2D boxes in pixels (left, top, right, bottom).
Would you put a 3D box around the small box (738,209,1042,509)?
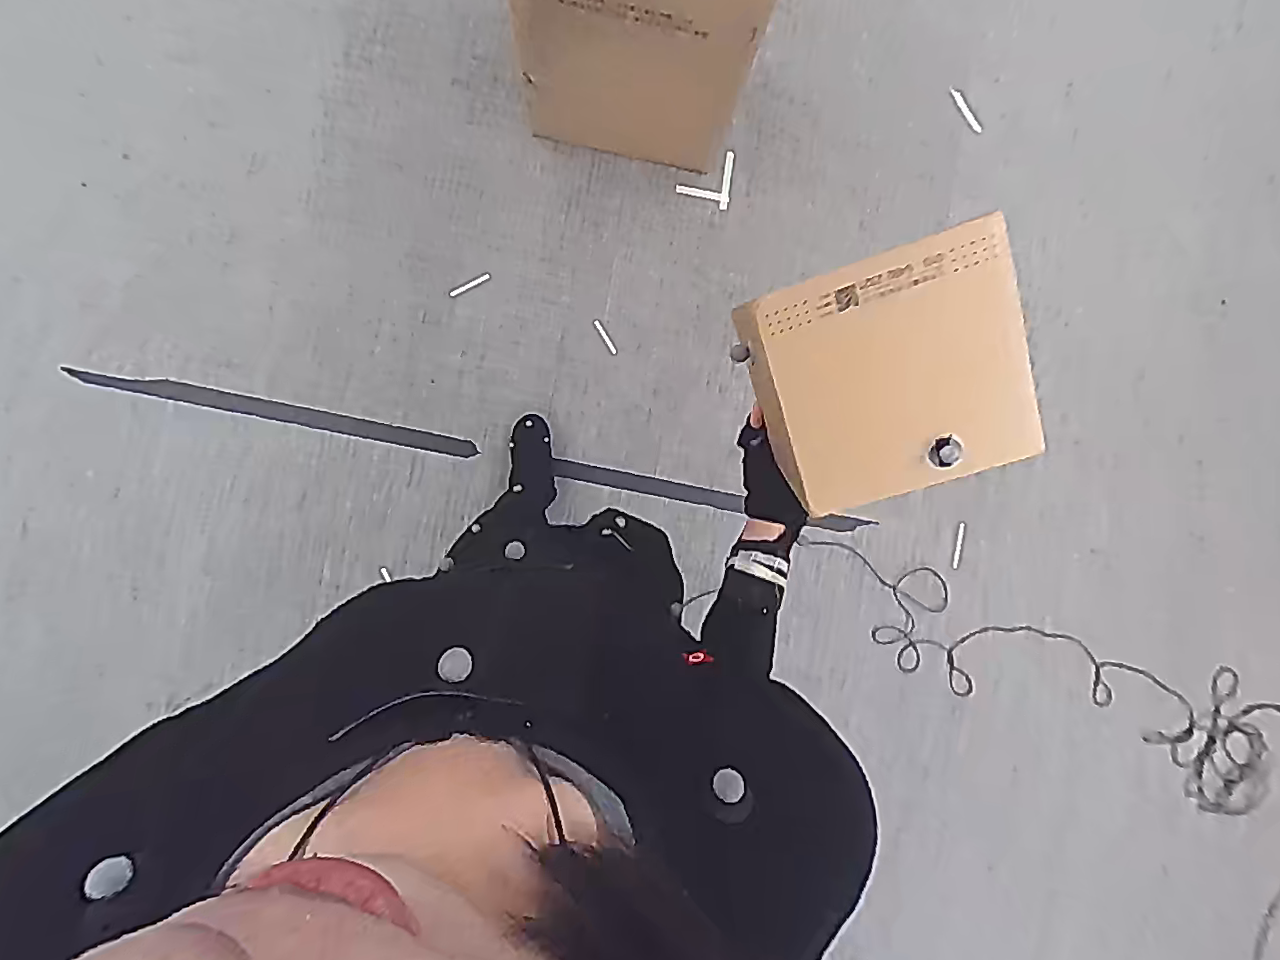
[{"bbox_3d":[0.184,-0.100,0.443,0.168,0.179,0.176,-17,104,11],"label":"small box"}]
